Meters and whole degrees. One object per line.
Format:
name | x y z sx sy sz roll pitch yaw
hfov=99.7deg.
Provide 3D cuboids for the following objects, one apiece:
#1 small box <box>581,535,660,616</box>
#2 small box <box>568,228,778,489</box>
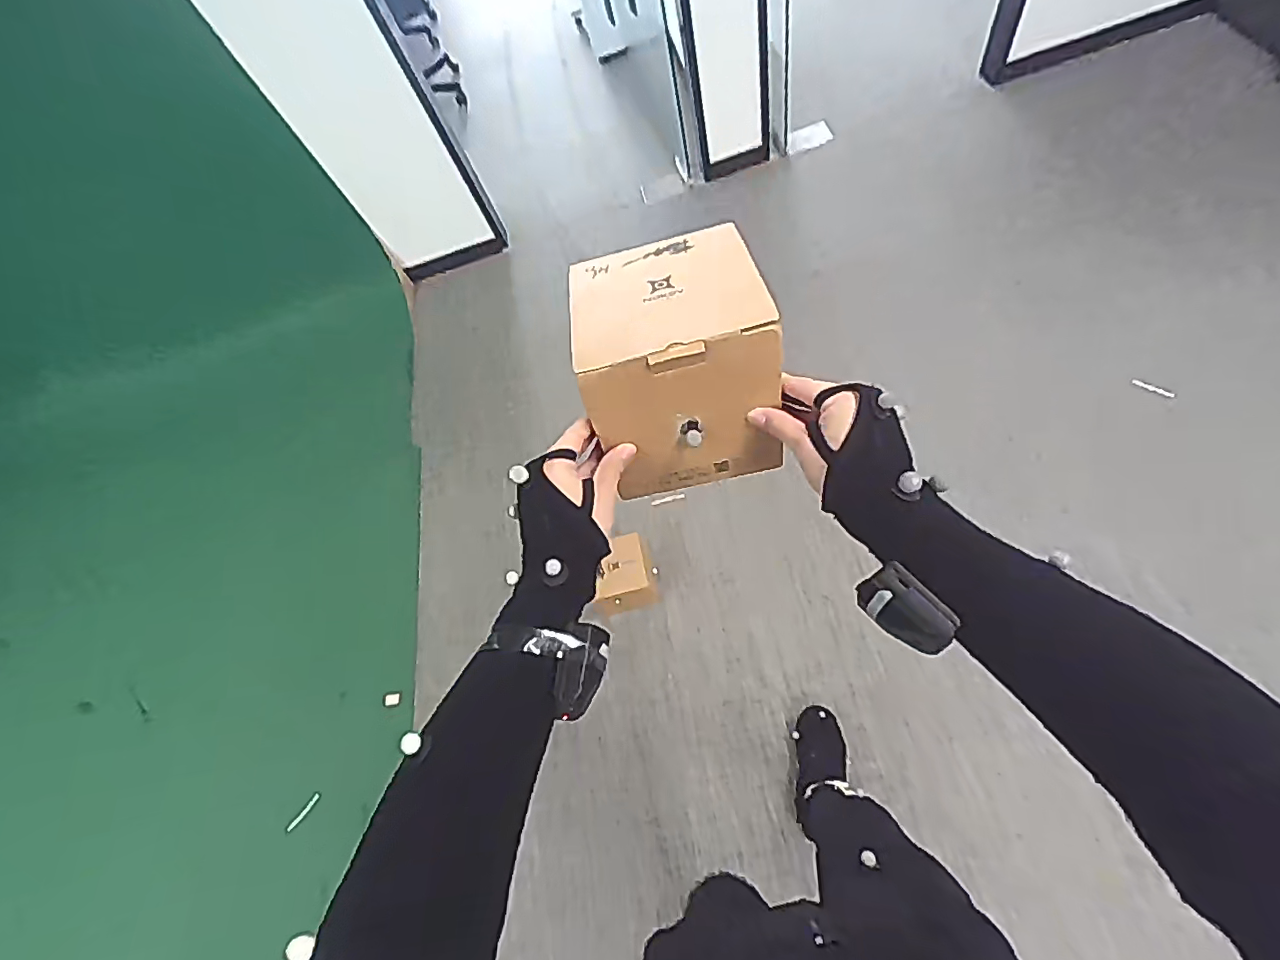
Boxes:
small box | -0.054 0.281 1.562 0.179 0.176 0.168 -15 61 6
small box | 0.034 -0.109 0.531 0.168 0.176 0.179 -13 49 5
